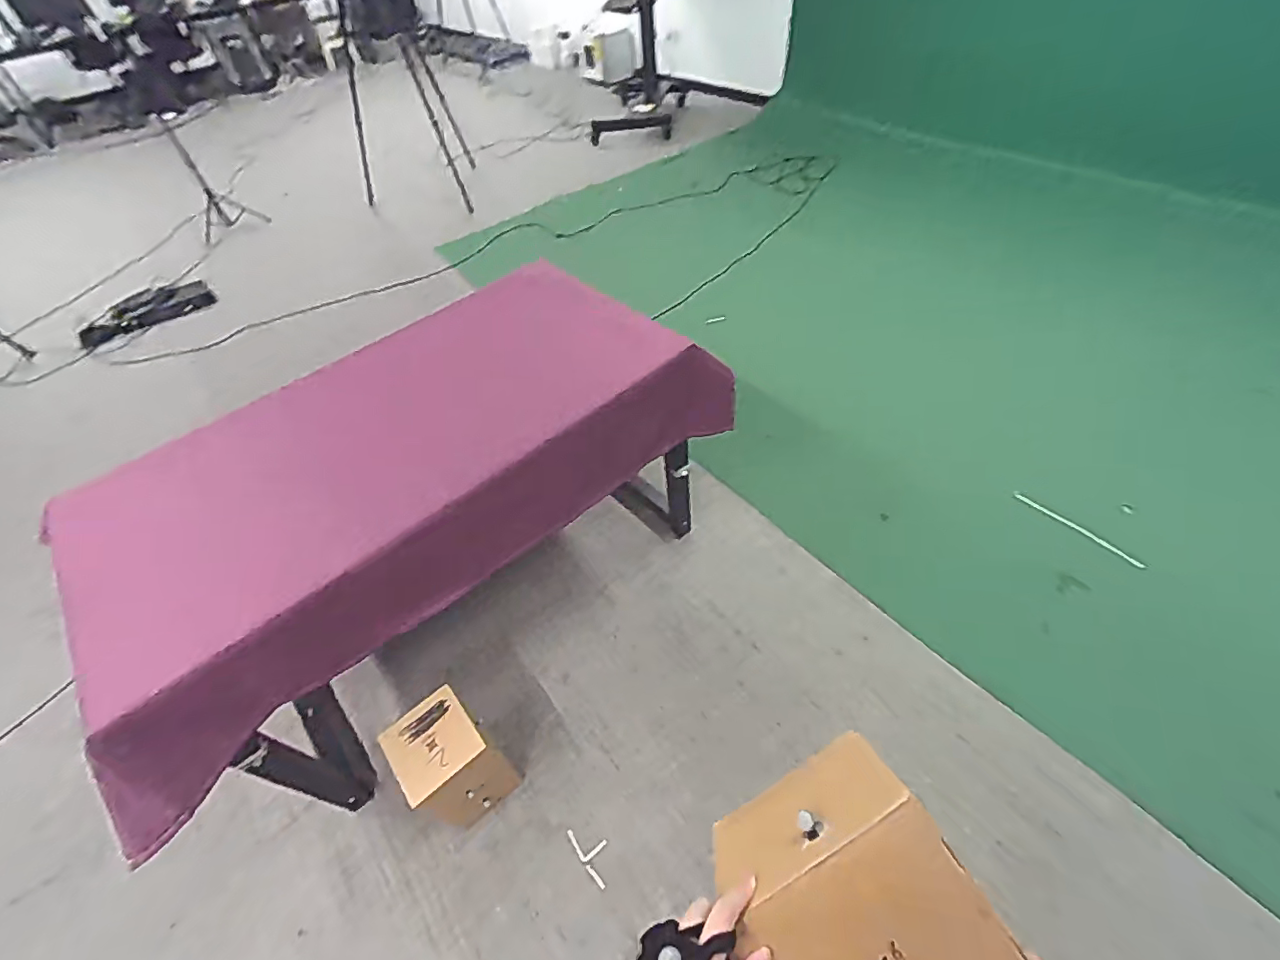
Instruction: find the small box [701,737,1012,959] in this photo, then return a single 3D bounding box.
[{"bbox_3d":[0.169,0.358,0.463,0.179,0.176,0.168,-35,78,-2],"label":"small box"}]
